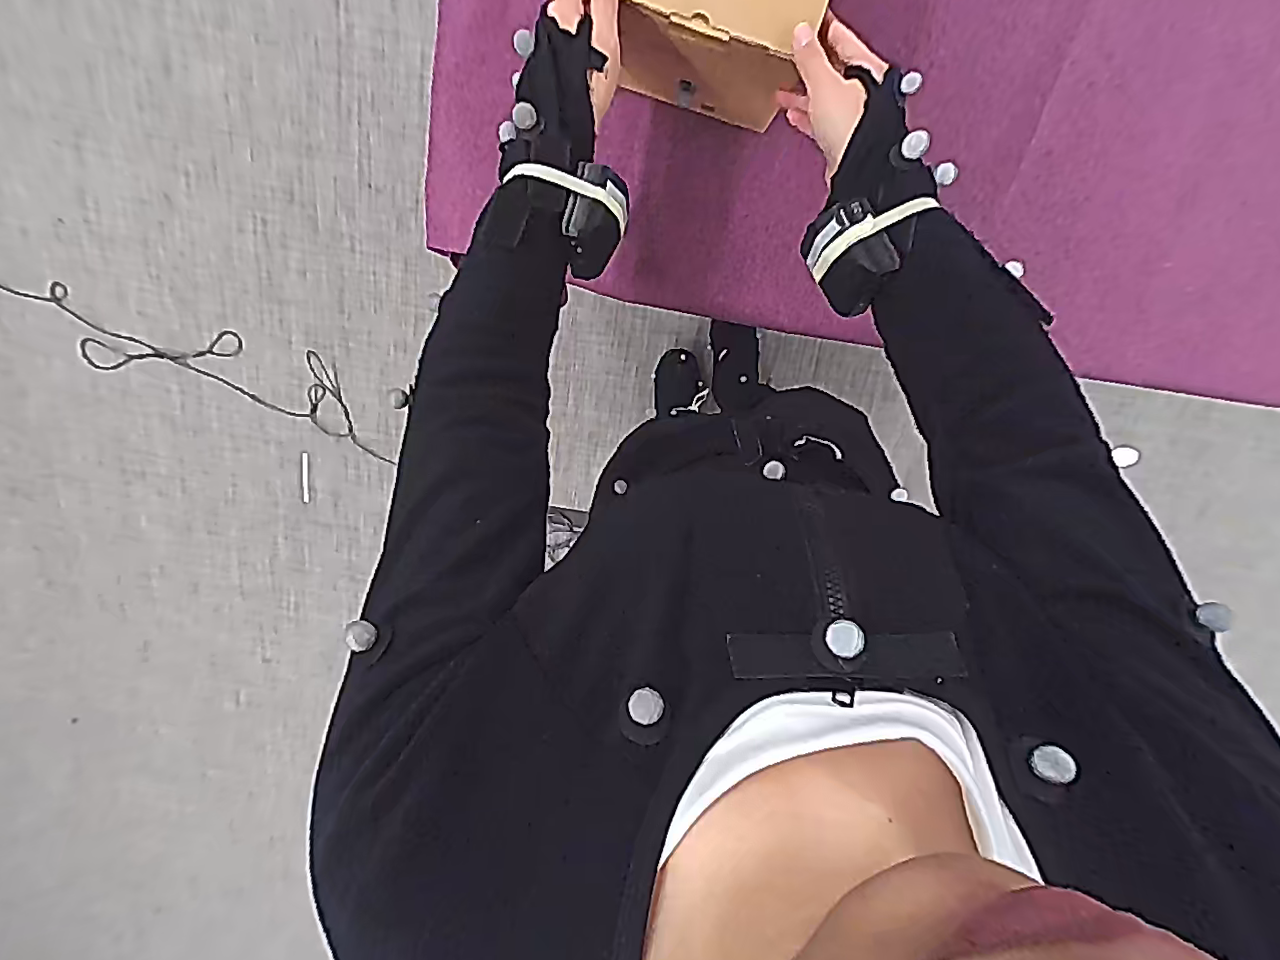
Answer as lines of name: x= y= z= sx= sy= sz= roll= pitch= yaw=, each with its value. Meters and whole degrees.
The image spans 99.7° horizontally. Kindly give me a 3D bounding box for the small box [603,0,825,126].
small box: x=0.067 y=-0.428 z=0.434 sx=0.168 sy=0.176 sz=0.179 roll=16 pitch=107 yaw=-4
